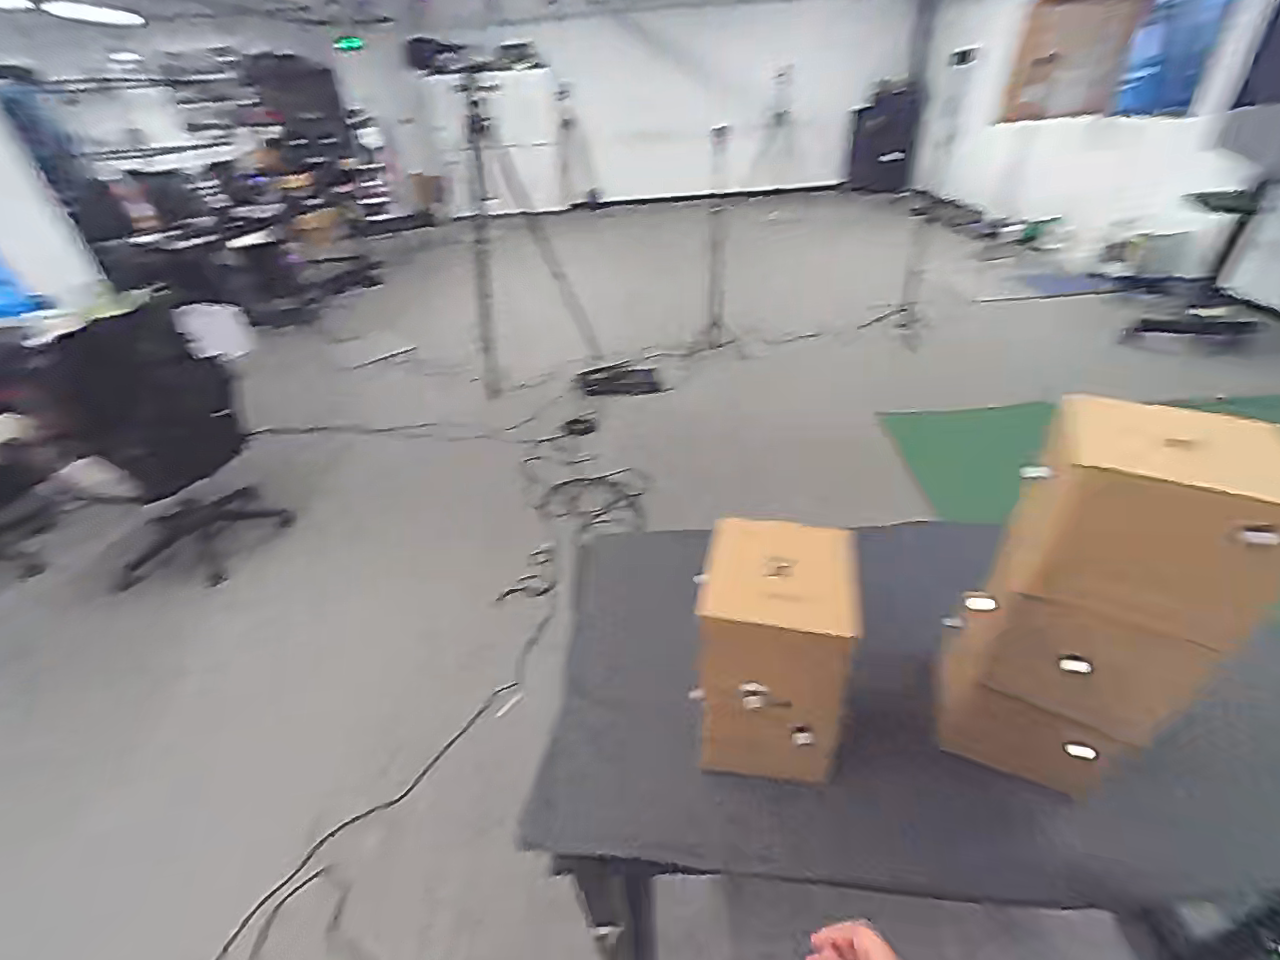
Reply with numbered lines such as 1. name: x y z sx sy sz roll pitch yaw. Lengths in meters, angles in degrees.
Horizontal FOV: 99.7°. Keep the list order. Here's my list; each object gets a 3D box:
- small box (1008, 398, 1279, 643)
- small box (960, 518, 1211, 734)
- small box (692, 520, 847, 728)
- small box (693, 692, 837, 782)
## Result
1. small box: 0.503 0.036 0.558 0.179 0.176 0.168 16 39 25
2. small box: 0.515 0.169 0.650 0.179 0.176 0.168 17 39 27
3. small box: 0.159 0.176 0.682 0.168 0.176 0.179 5 37 14
4. small box: 0.171 0.307 0.778 0.179 0.176 0.168 2 35 9
